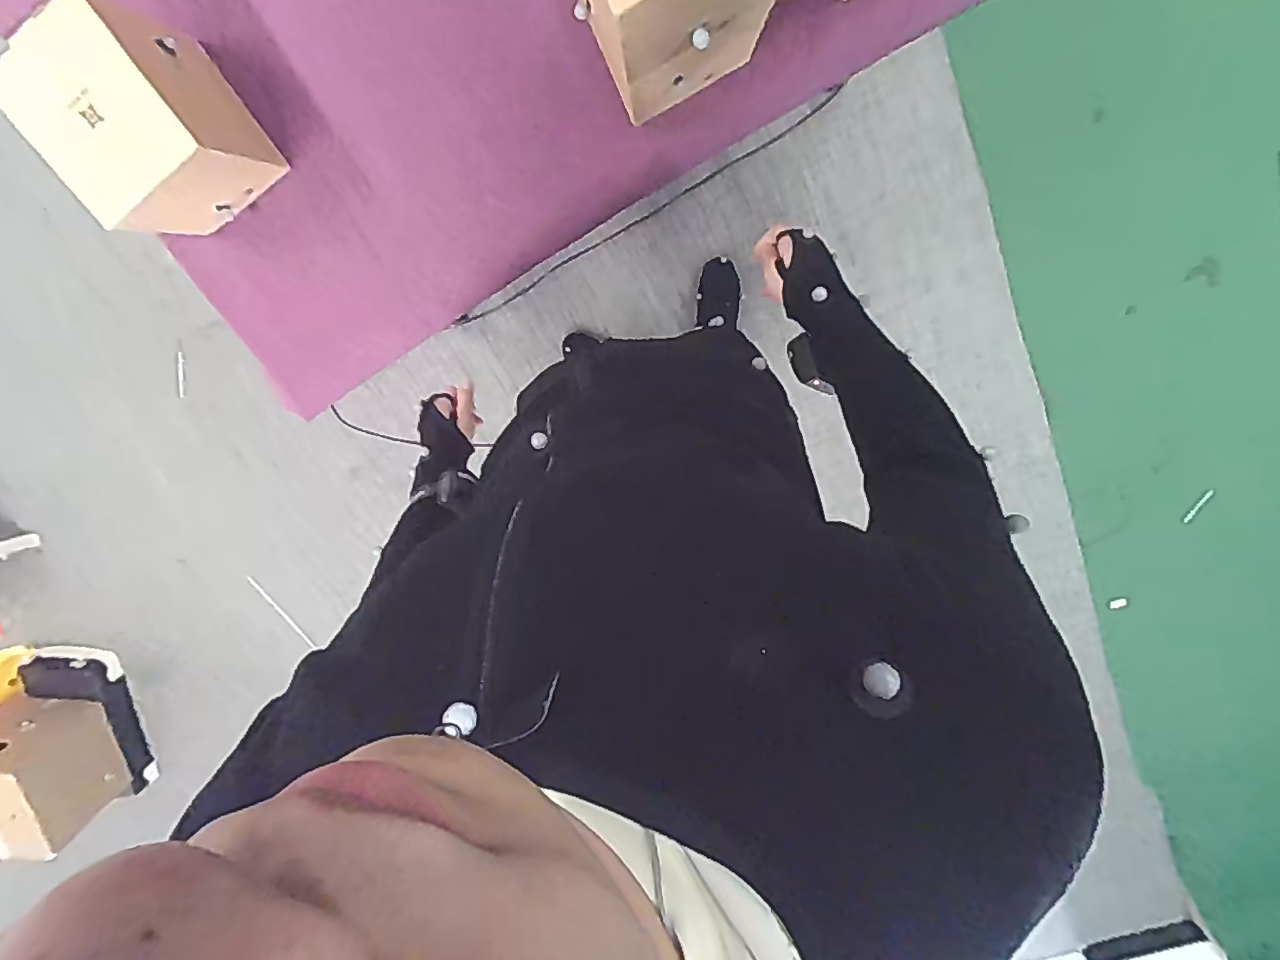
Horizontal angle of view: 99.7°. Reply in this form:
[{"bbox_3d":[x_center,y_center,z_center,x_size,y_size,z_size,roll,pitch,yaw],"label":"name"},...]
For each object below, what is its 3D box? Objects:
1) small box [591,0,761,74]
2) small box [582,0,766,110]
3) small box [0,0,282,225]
[{"bbox_3d":[0.016,-0.487,0.441,0.168,0.176,0.179,-23,109,12],"label":"small box"},{"bbox_3d":[0.023,-0.545,0.595,0.168,0.176,0.179,-24,108,11],"label":"small box"},{"bbox_3d":[-0.601,-0.435,0.660,0.168,0.176,0.179,-28,110,13],"label":"small box"}]
